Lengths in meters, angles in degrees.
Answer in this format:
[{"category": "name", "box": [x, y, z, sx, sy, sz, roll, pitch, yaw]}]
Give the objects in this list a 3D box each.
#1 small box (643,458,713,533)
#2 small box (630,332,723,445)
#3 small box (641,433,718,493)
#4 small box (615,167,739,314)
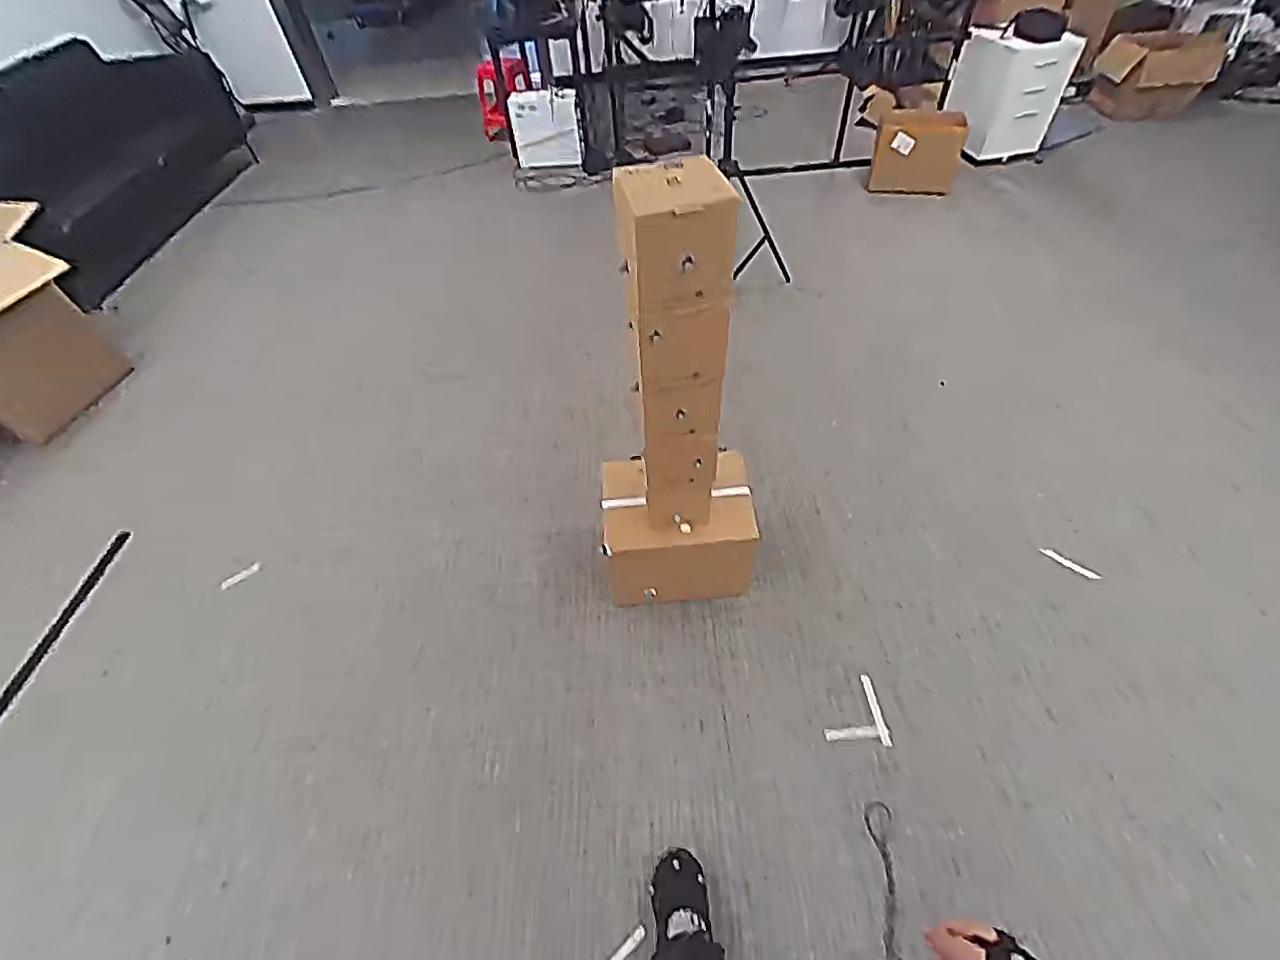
[{"category": "small box", "box": [0.094, 0.018, 1.421, 0.168, 0.176, 0.179, -6, 50, 0]}, {"category": "small box", "box": [0.076, -0.190, 1.171, 0.168, 0.176, 0.179, -9, 50, -5]}, {"category": "small box", "box": [0.090, -0.082, 1.294, 0.168, 0.176, 0.179, -6, 49, -2]}, {"category": "small box", "box": [0.059, -0.398, 0.917, 0.168, 0.176, 0.179, -12, 52, -7]}]
